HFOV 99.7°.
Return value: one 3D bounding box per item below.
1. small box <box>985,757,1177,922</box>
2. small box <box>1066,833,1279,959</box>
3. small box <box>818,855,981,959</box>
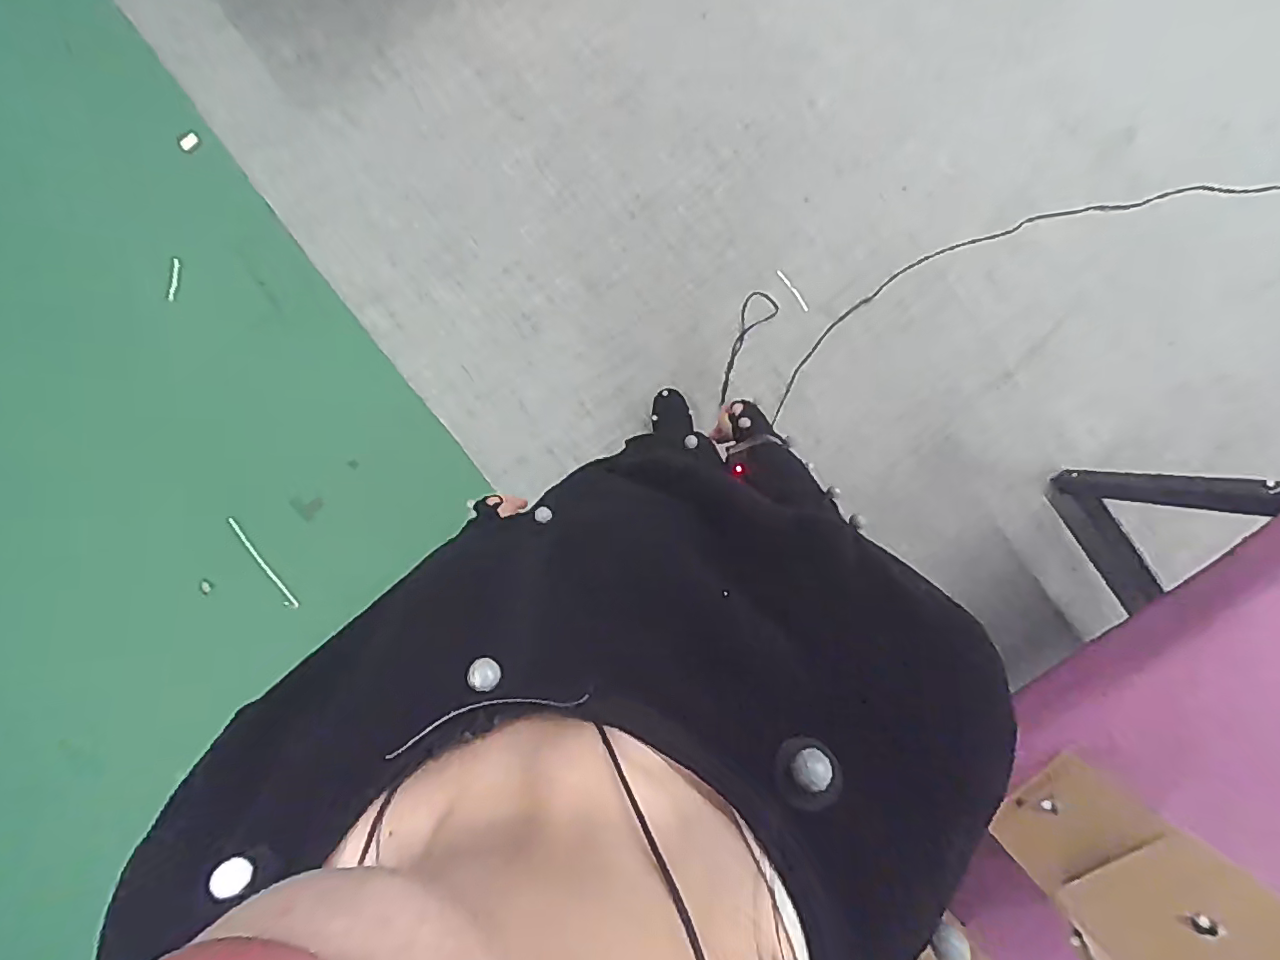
[{"bbox_3d":[0.621,0.519,0.722,0.168,0.176,0.179,-42,93,2],"label":"small box"},{"bbox_3d":[0.594,0.521,0.558,0.179,0.176,0.168,-28,94,2],"label":"small box"},{"bbox_3d":[0.367,0.674,0.735,0.179,0.176,0.168,-40,93,3],"label":"small box"}]
